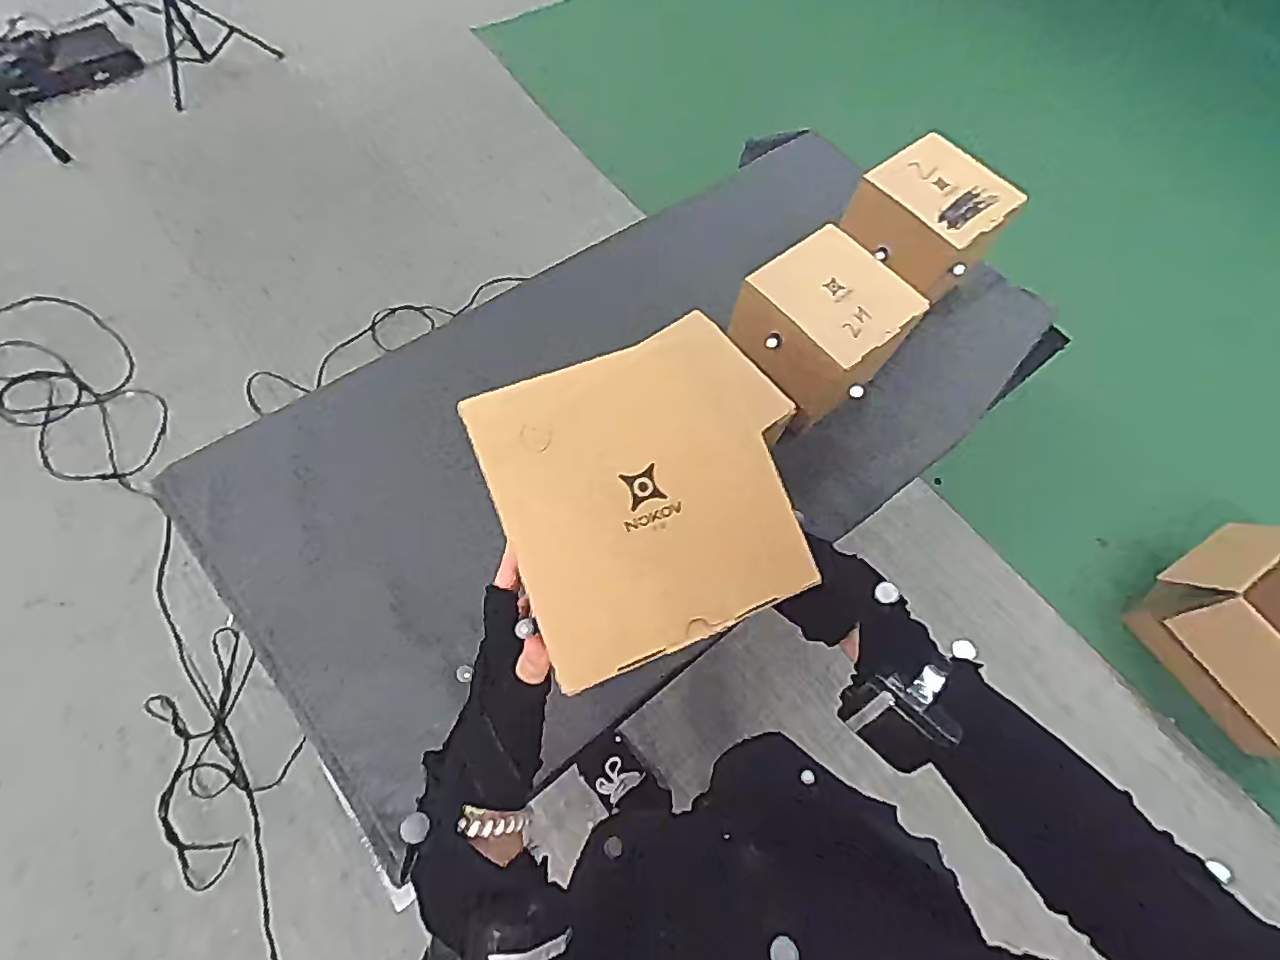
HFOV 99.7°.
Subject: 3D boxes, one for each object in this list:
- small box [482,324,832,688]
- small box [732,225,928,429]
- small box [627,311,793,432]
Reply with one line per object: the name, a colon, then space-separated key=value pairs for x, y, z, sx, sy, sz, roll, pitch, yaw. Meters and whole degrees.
small box: x=-0.003 y=0.020 z=0.390 sx=0.168 sy=0.176 sz=0.179 roll=-20 pitch=86 yaw=-13
small box: x=0.241 y=-0.204 z=0.750 sx=0.168 sy=0.176 sz=0.179 roll=-37 pitch=74 yaw=-17
small box: x=0.054 y=-0.067 z=0.679 sx=0.168 sy=0.176 sz=0.179 roll=-35 pitch=73 yaw=-17
